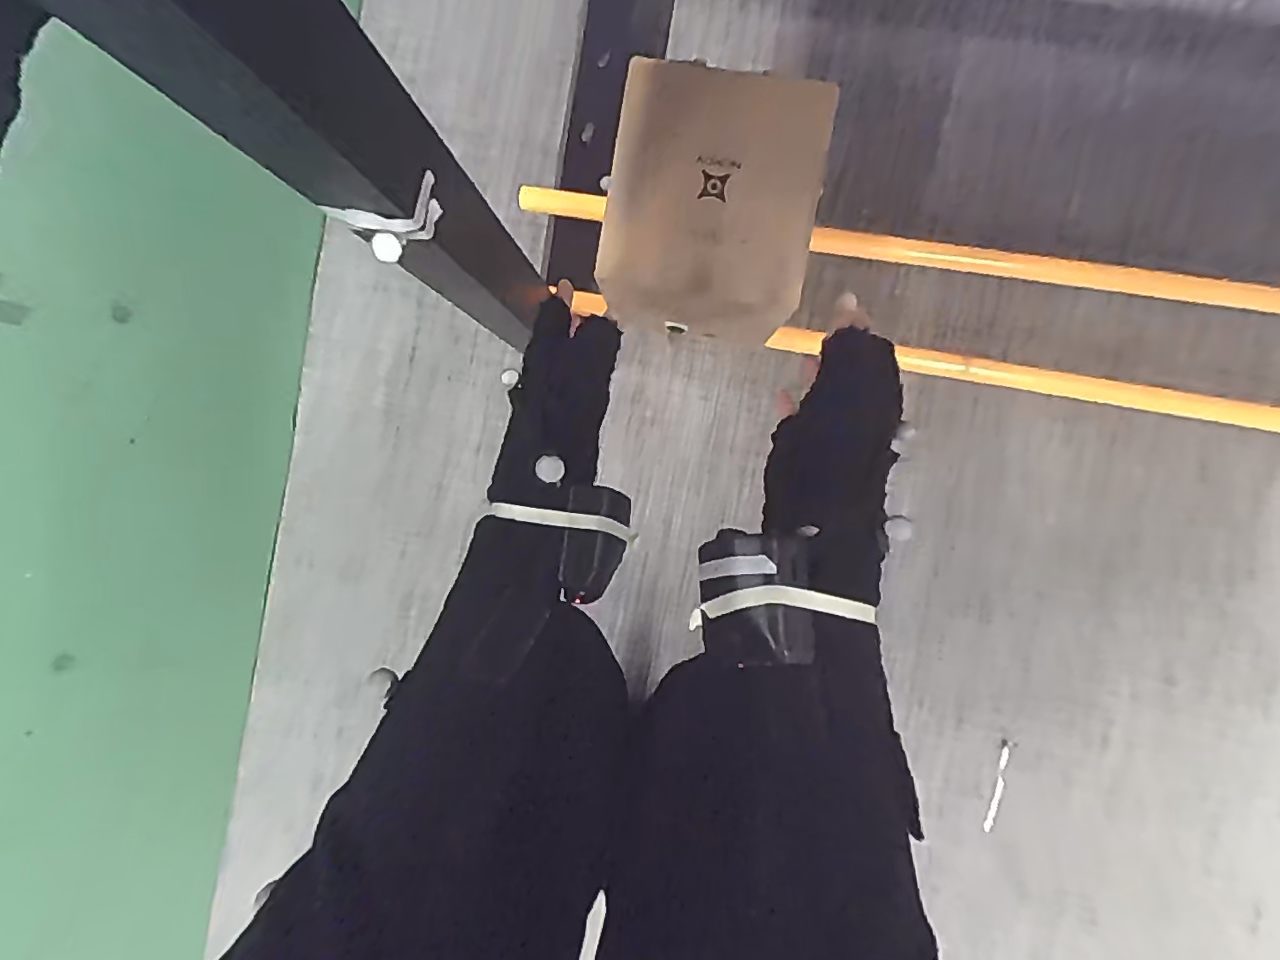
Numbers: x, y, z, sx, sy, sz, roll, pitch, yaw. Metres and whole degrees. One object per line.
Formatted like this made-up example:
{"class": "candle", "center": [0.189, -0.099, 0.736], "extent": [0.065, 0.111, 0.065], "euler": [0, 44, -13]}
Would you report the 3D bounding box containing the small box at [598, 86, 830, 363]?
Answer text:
{"class": "small box", "center": [0.062, -0.222, 0.514], "extent": [0.168, 0.176, 0.179], "euler": [9, 93, 3]}
